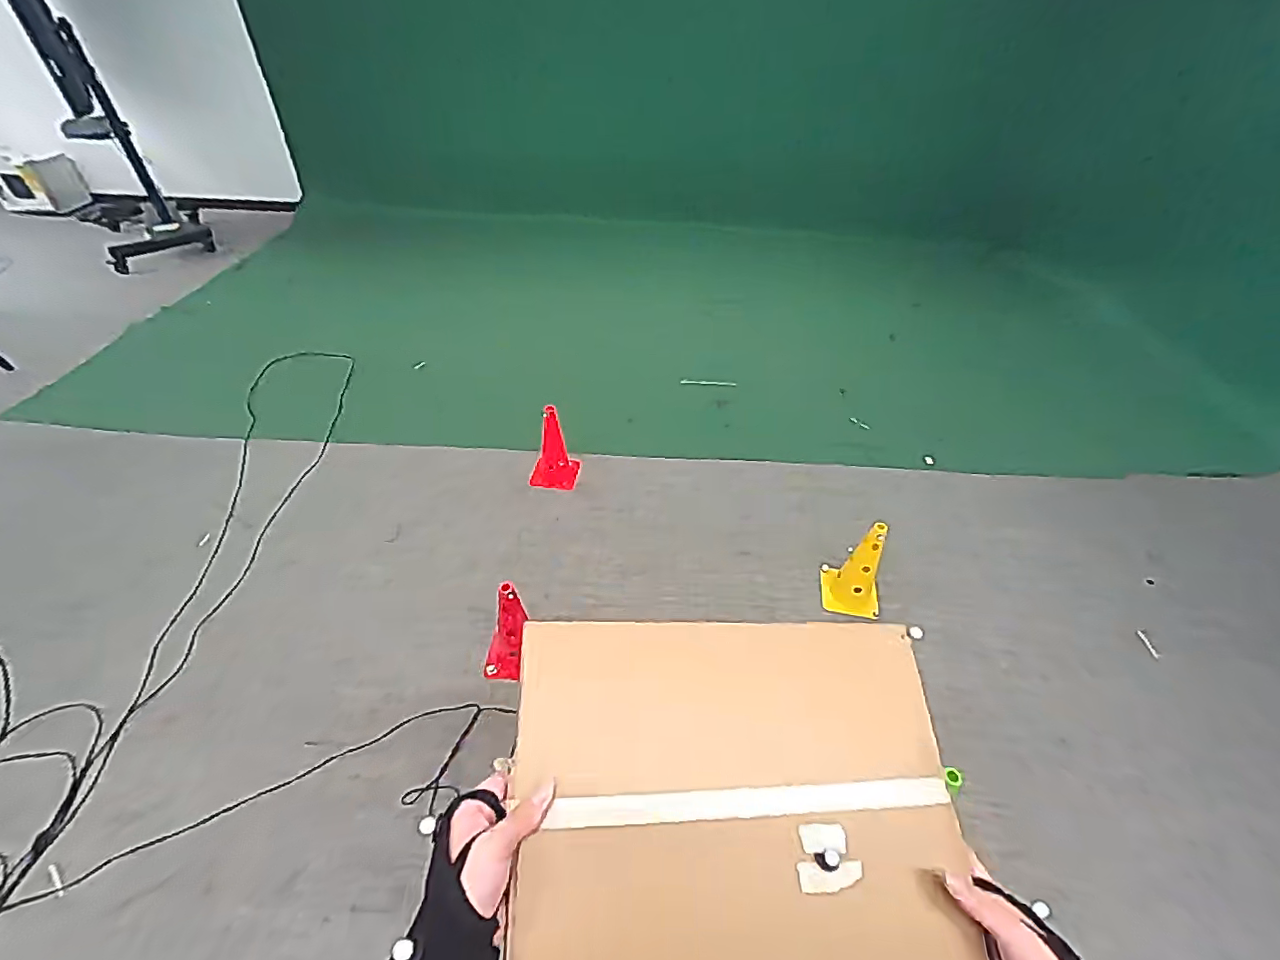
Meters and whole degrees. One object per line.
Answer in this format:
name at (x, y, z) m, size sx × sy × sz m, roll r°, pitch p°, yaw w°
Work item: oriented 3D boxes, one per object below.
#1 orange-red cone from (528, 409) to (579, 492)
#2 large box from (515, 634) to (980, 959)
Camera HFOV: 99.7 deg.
orange-red cone at (-0.380, -0.145, 2.290) m, size 0.199 × 0.360 × 0.198 m, roll 6°, pitch 42°, yaw 6°
large box at (0.068, 0.364, 0.619) m, size 0.408 × 0.320 × 0.320 m, roll 3°, pitch 64°, yaw -11°
